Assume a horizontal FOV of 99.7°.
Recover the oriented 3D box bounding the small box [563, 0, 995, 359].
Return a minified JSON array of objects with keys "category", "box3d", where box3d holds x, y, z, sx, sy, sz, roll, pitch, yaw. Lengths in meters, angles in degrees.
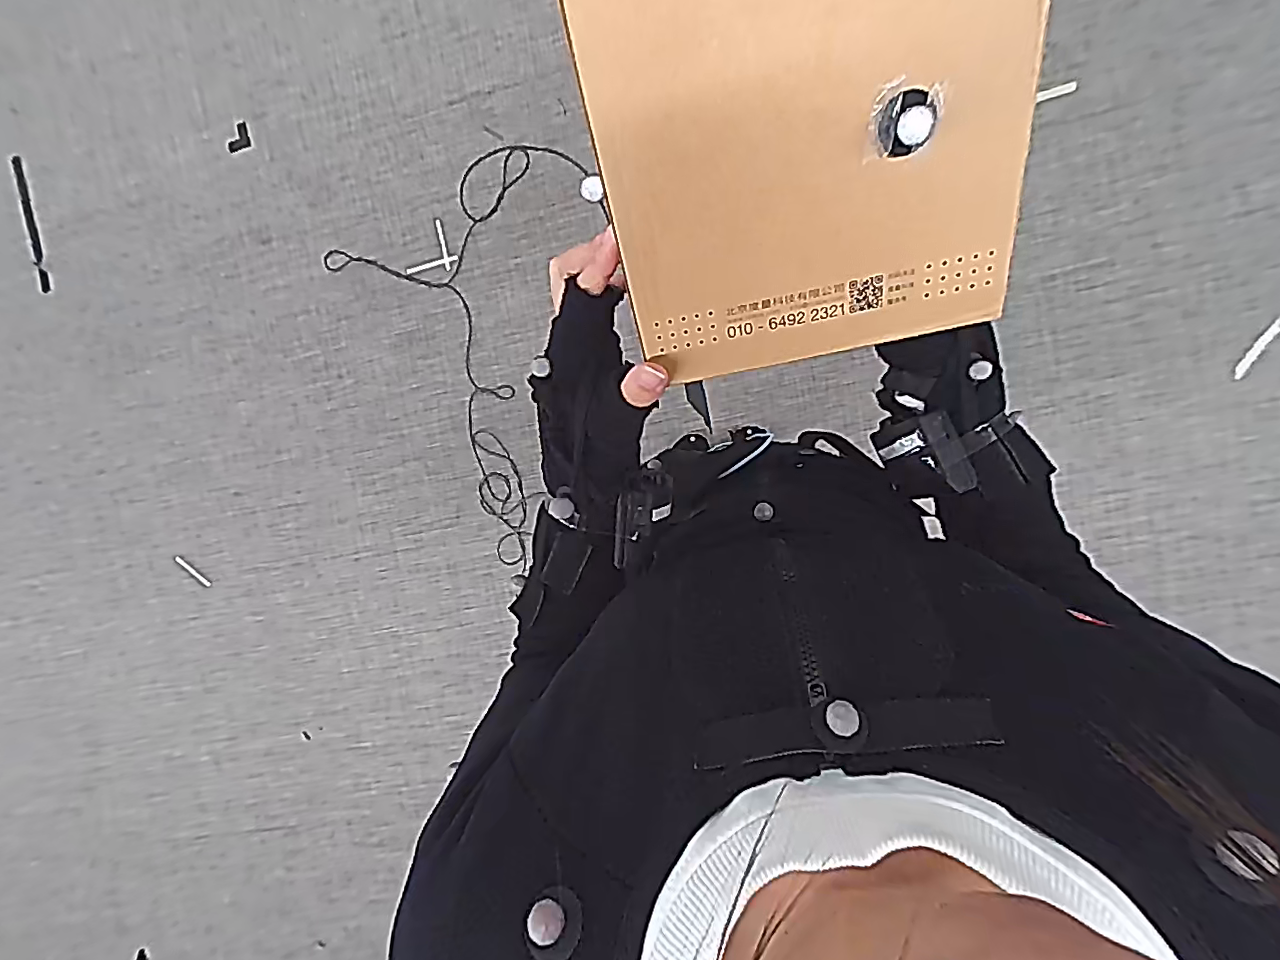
[{"category":"small box","box3d":[0.071,-0.178,0.300,0.168,0.179,0.176,-9,124,9]}]
